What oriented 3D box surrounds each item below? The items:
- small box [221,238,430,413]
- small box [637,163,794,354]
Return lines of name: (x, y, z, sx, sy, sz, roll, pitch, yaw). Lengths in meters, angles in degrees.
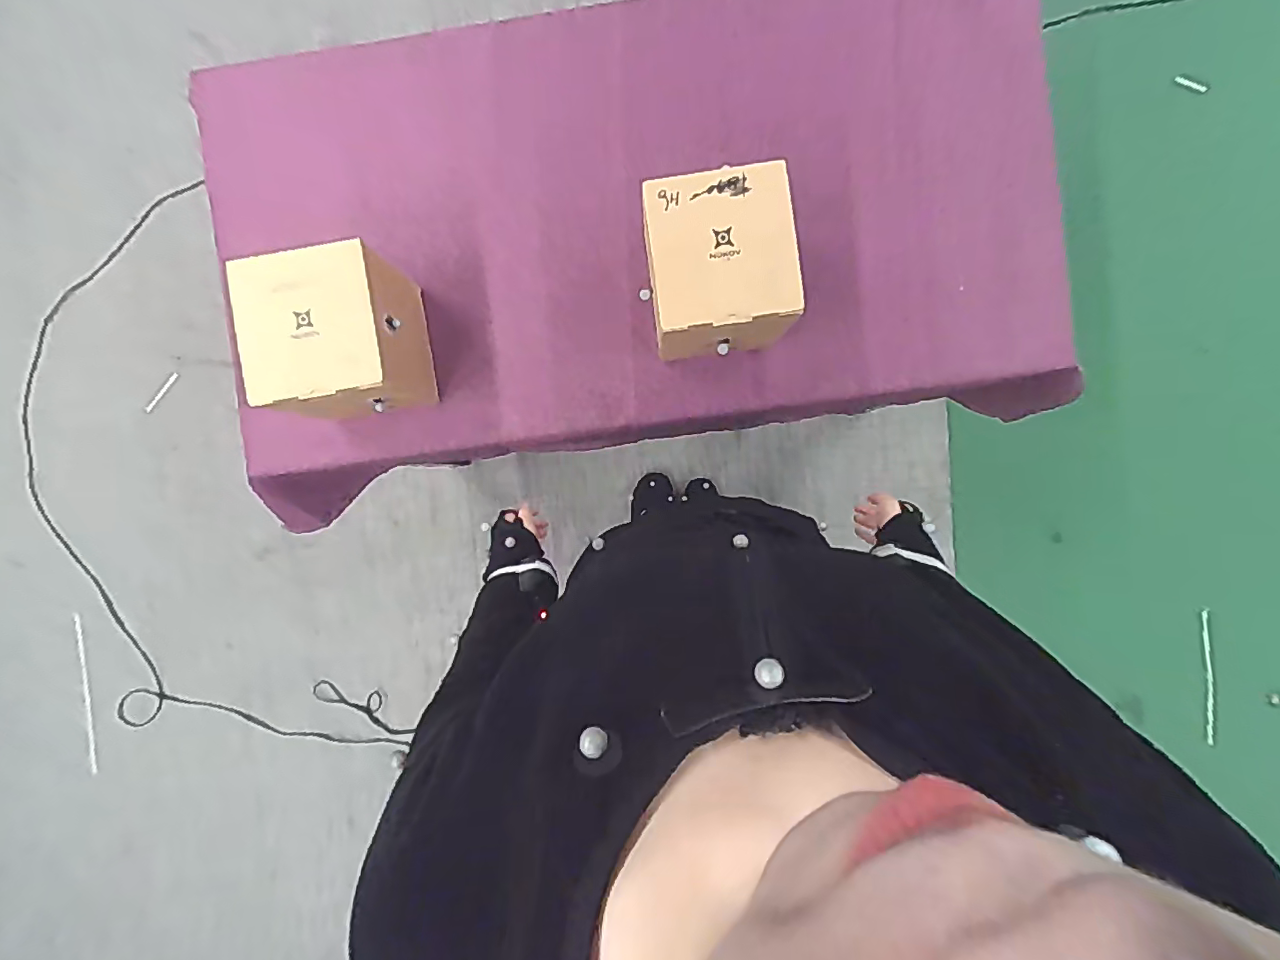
small box: (-0.393, -0.186, 0.709, 0.168, 0.176, 0.179, -9, 90, 1)
small box: (0.089, -0.266, 0.694, 0.168, 0.176, 0.179, -7, 91, 2)
